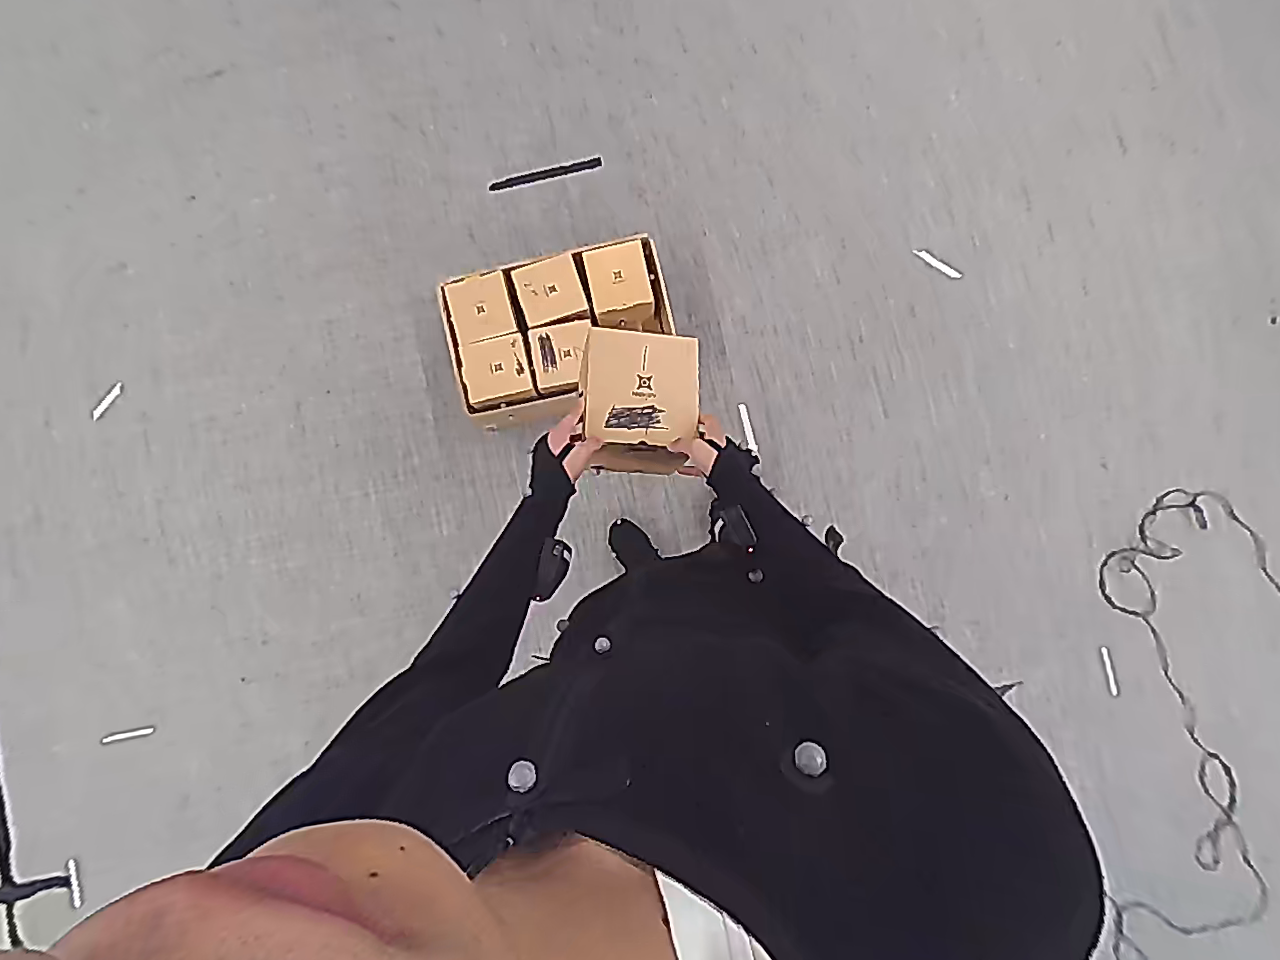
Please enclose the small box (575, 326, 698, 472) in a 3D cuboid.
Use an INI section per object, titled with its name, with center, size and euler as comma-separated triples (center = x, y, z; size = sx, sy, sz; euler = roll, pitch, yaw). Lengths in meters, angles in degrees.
[small box]
center = -0.011, -0.114, 0.841
size = 0.168, 0.176, 0.179
euler = 3, 77, -10
